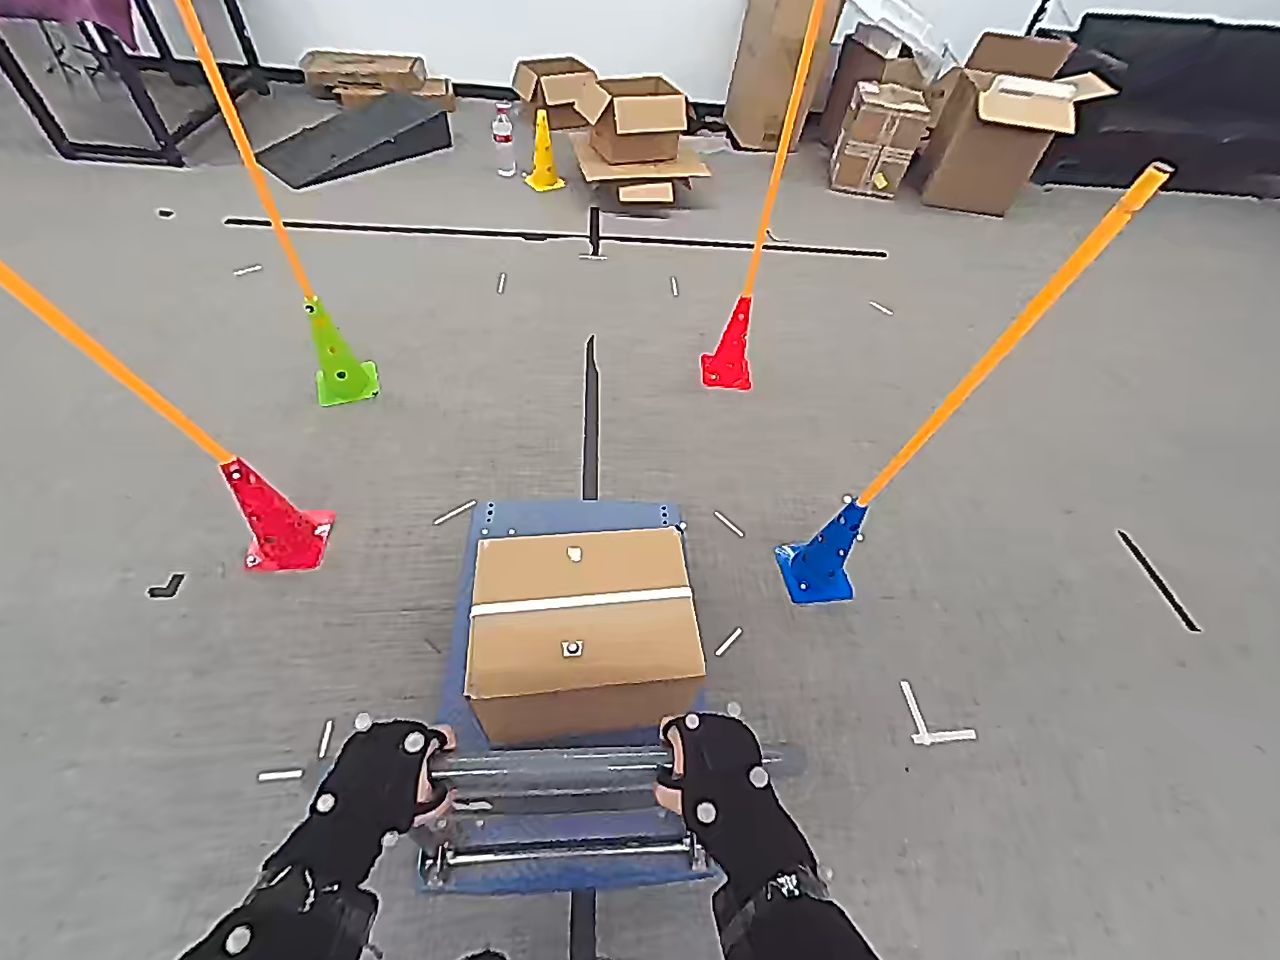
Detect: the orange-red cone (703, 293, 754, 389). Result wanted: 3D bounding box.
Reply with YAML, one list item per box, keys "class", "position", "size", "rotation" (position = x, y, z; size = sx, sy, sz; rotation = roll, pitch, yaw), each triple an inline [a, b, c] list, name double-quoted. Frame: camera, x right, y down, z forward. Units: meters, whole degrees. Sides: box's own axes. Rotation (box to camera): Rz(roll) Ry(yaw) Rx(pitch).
- class: "orange-red cone"
  position: [0.373, -0.548, 2.061]
  size: [0.199, 0.360, 0.198]
  rotation: [6, 52, -3]

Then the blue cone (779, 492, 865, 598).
- class: "blue cone"
  position: [0.549, 0.170, 1.528]
  size: [0.193, 0.380, 0.192]
  rotation: [-2, 51, -9]
